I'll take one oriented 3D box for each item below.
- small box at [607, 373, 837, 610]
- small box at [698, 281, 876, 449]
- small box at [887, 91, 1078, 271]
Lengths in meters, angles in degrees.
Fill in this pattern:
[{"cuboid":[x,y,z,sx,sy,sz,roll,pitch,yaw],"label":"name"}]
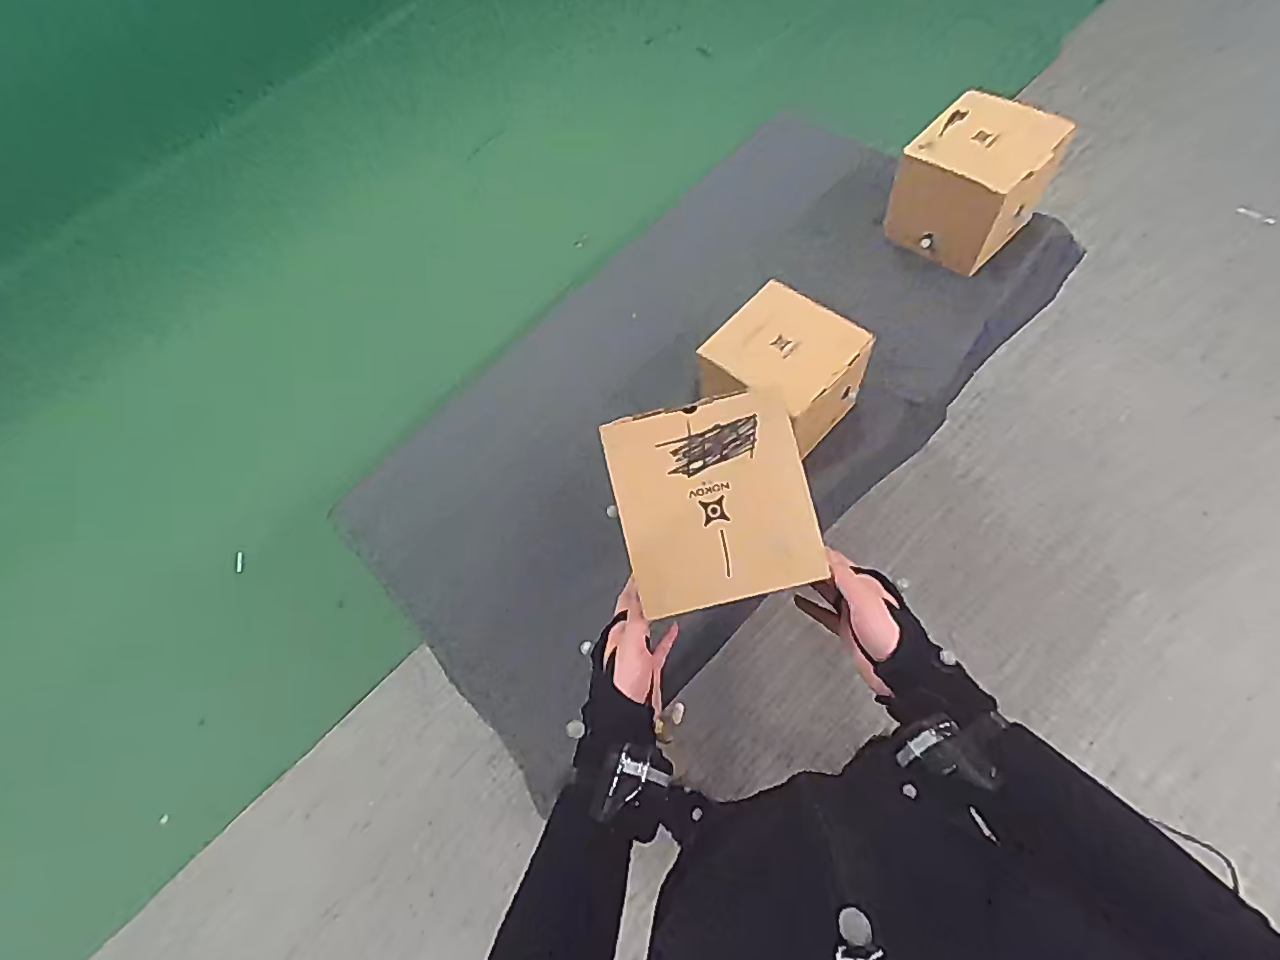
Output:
[{"cuboid":[0.069,0.016,0.533,0.168,0.176,0.179,-13,85,2],"label":"small box"},{"cuboid":[0.208,-0.148,0.795,0.179,0.176,0.168,39,77,25],"label":"small box"},{"cuboid":[0.539,-0.475,0.880,0.168,0.176,0.179,-43,65,-8],"label":"small box"}]
